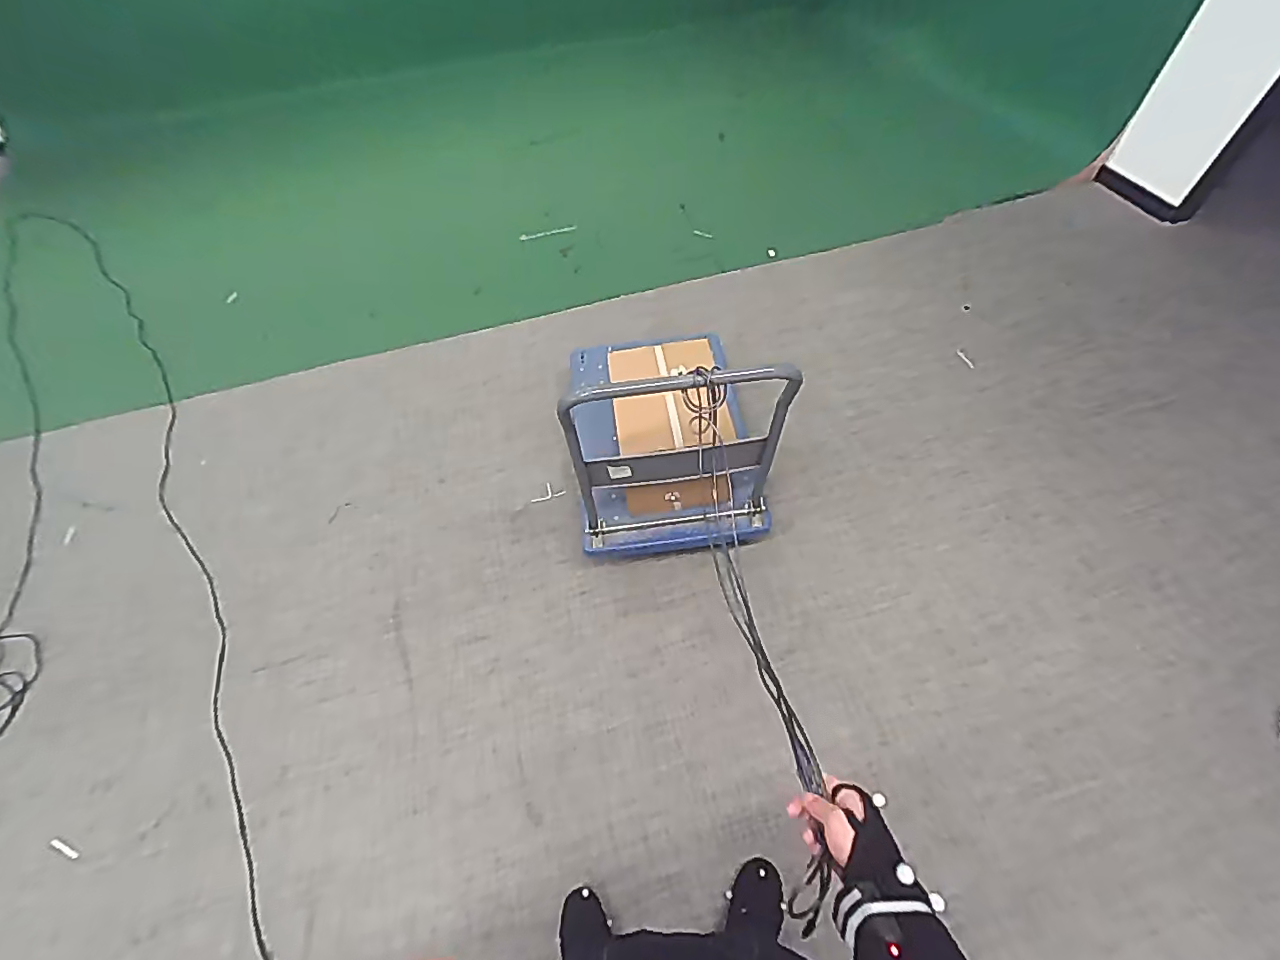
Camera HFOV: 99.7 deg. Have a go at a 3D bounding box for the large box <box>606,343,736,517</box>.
[{"bbox_3d":[0.086,-0.149,1.645,0.320,0.320,0.408,-8,55,-1],"label":"large box"}]
